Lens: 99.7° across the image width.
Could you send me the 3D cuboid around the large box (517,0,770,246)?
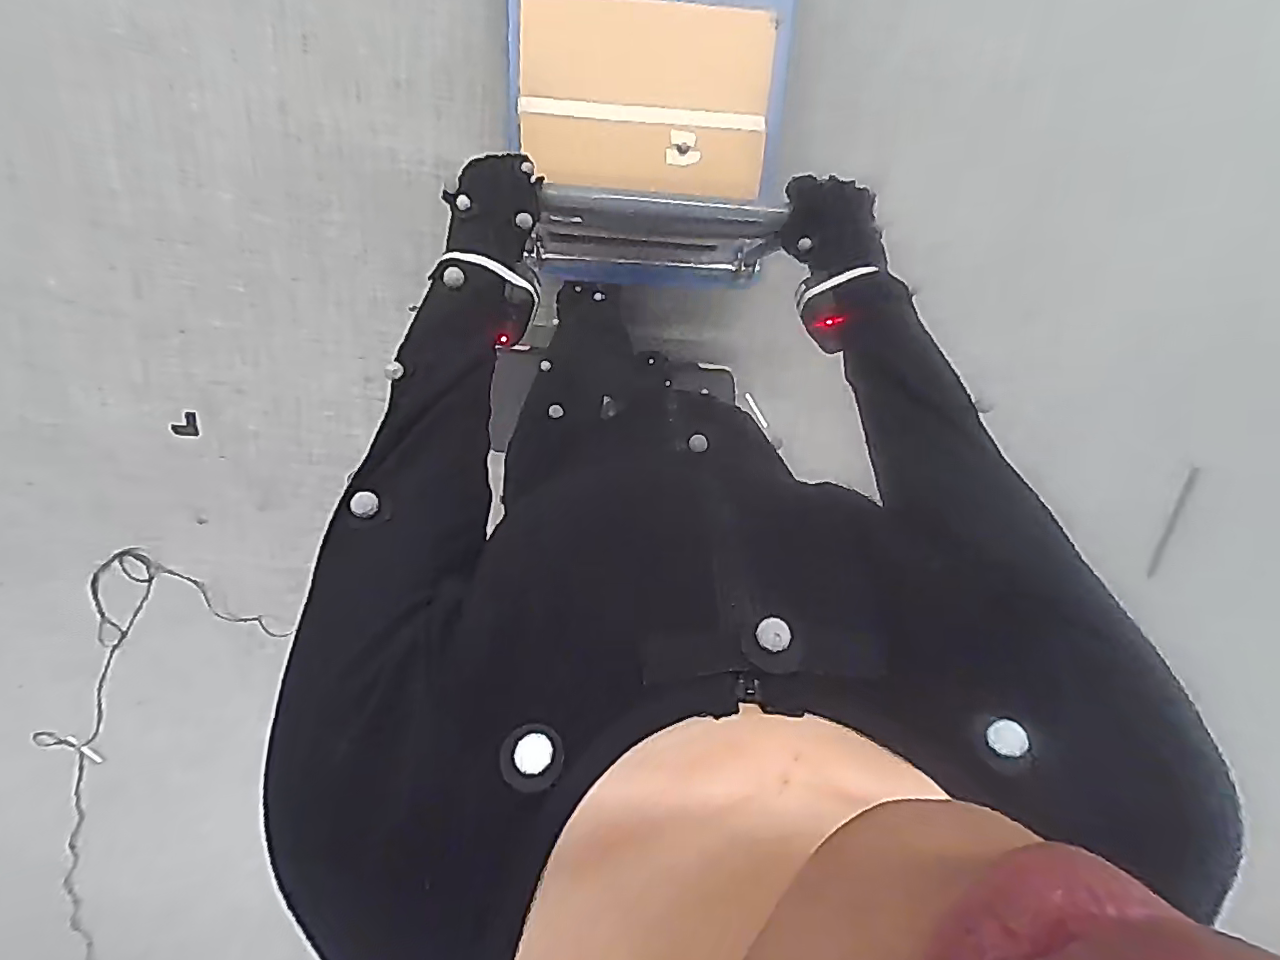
[{"bbox_3d":[-0.008,-0.635,1.026,0.408,0.320,0.320,2,109,-5],"label":"large box"}]
